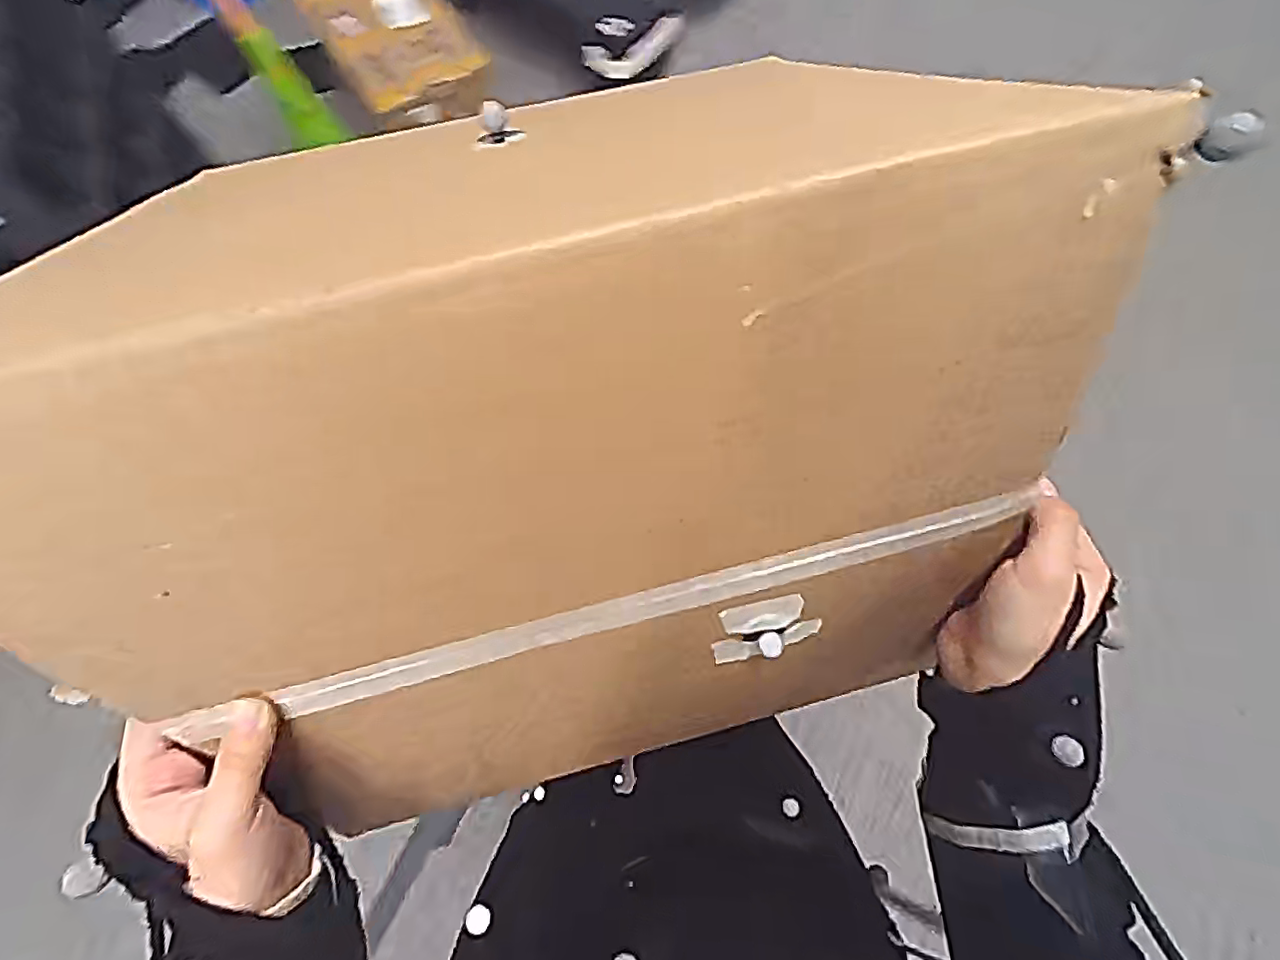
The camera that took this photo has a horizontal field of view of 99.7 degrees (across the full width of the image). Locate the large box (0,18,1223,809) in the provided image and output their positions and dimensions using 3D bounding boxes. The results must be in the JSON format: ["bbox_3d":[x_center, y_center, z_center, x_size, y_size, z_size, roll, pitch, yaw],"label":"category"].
[{"bbox_3d":[-0.031,-0.056,0.353,0.408,0.320,0.320,-15,41,-3],"label":"large box"}]
